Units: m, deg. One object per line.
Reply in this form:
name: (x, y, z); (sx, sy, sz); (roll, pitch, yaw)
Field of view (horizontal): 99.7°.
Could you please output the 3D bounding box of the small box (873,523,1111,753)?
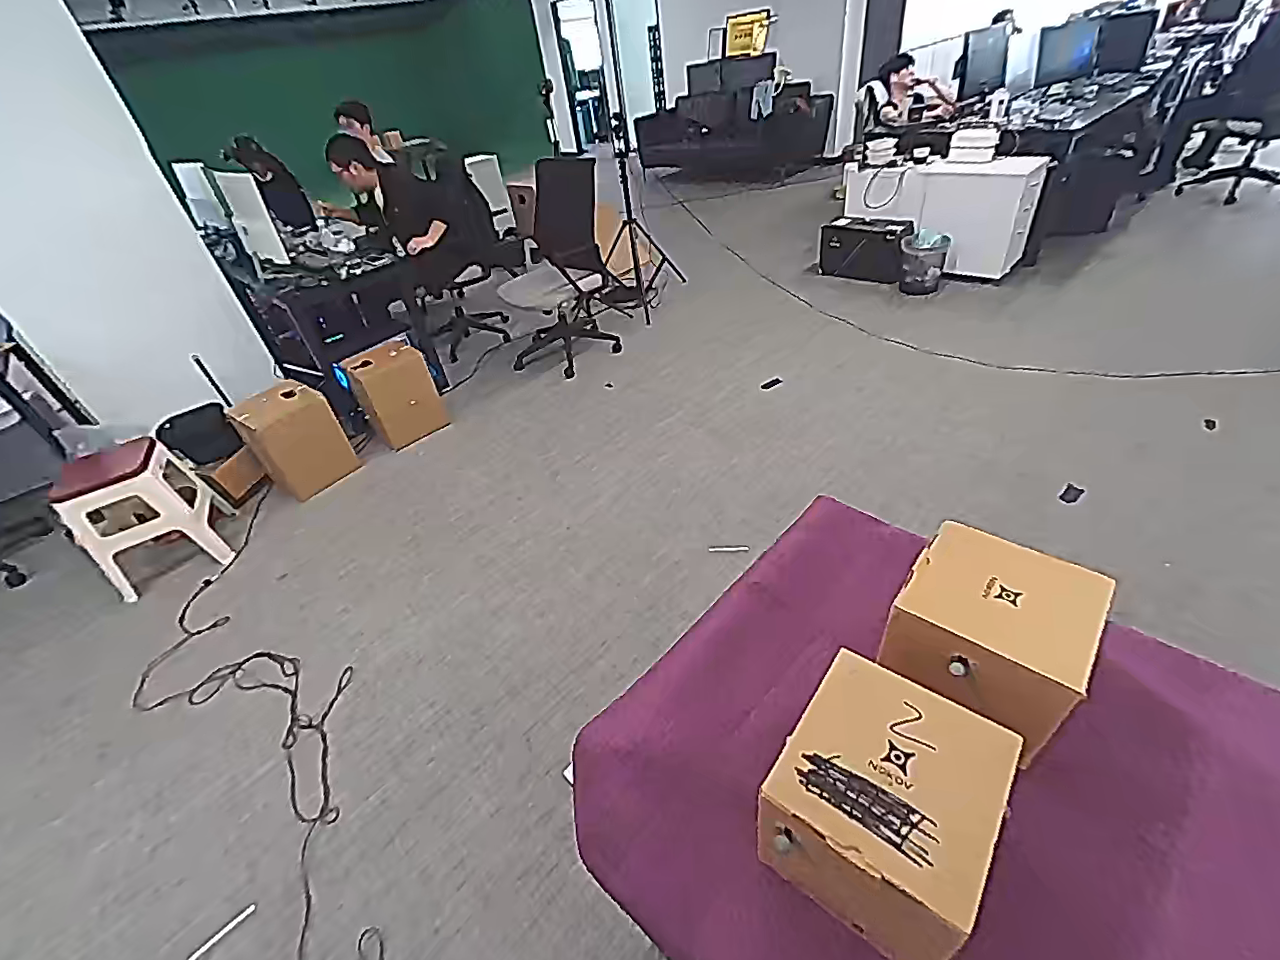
small box: (0.403, 0.188, 0.641); (0.179, 0.176, 0.168); (24, 49, 35)
